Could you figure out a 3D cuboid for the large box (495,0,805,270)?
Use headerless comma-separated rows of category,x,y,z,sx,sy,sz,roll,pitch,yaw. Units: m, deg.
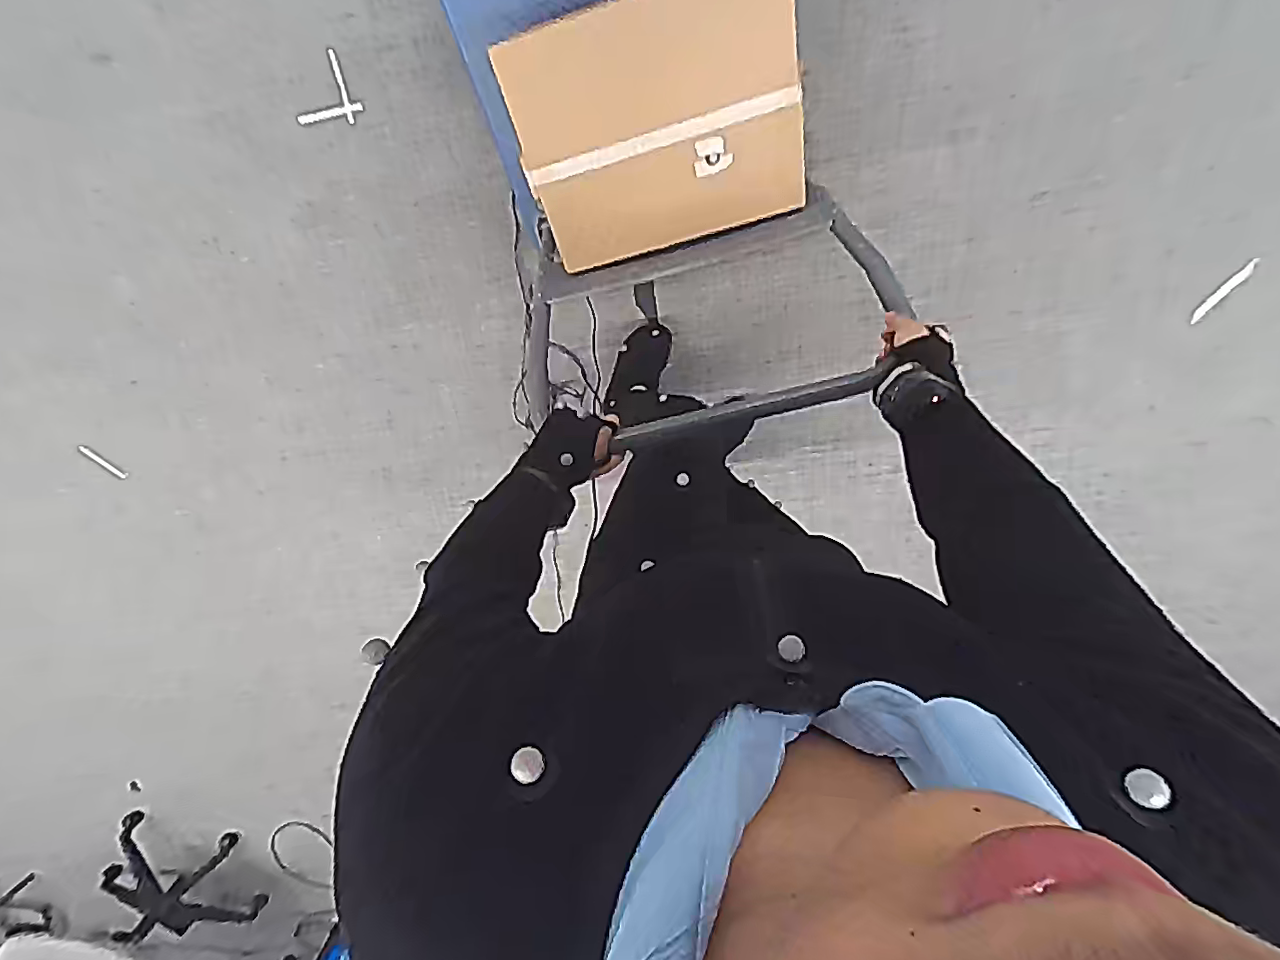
large box,0.021,-0.611,0.905,0.408,0.320,0.320,-15,133,7
